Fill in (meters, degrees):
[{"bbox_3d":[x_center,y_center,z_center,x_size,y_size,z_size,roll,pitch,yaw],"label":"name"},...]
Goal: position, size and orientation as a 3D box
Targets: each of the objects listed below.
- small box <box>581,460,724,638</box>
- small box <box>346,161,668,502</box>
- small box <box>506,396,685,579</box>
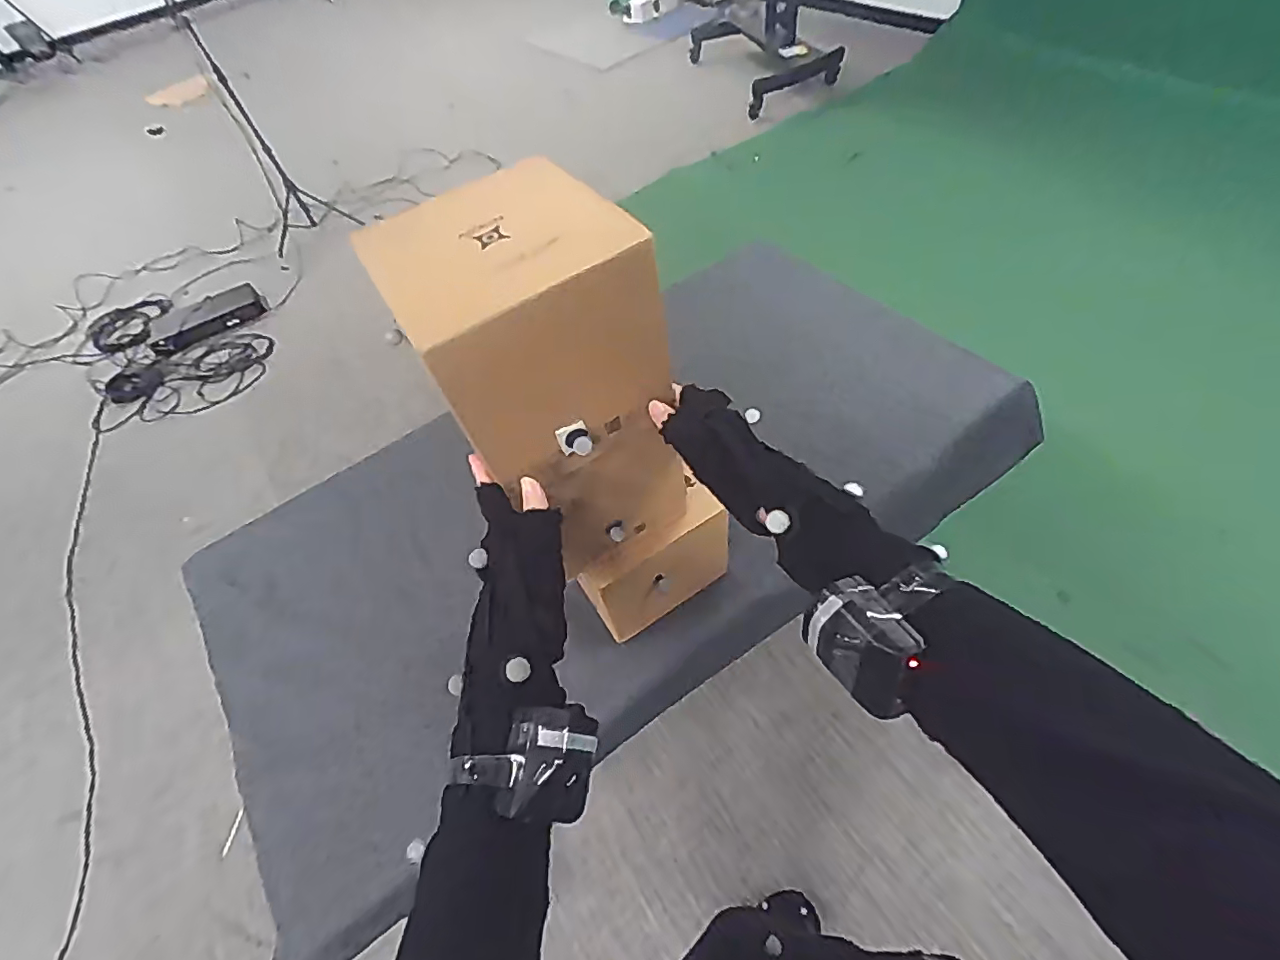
[{"bbox_3d":[-0.005,0.072,0.691,0.179,0.176,0.168,-32,56,-13],"label":"small box"},{"bbox_3d":[-0.096,-0.116,0.437,0.168,0.176,0.179,-33,56,-12],"label":"small box"},{"bbox_3d":[-0.070,-0.029,0.571,0.168,0.176,0.179,-32,53,-13],"label":"small box"}]
